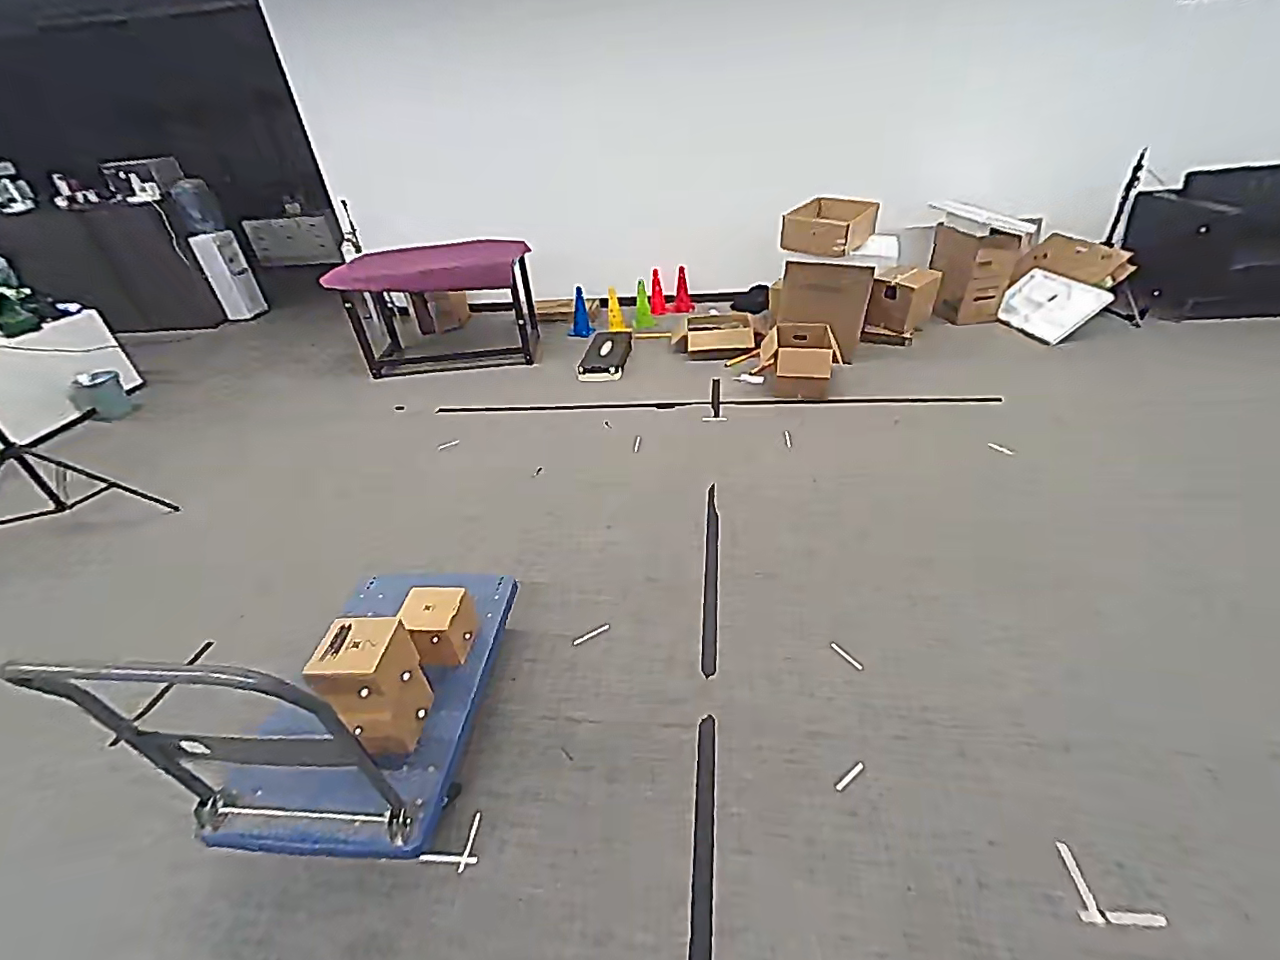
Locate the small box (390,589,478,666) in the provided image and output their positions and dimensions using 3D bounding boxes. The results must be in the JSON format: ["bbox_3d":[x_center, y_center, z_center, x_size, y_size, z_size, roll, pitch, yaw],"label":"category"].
[{"bbox_3d":[-0.621,0.452,1.653,0.179,0.176,0.168,-1,35,6],"label":"small box"}]

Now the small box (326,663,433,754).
[{"bbox_3d":[-0.683,0.608,1.438,0.179,0.176,0.168,-1,36,5],"label":"small box"}]
